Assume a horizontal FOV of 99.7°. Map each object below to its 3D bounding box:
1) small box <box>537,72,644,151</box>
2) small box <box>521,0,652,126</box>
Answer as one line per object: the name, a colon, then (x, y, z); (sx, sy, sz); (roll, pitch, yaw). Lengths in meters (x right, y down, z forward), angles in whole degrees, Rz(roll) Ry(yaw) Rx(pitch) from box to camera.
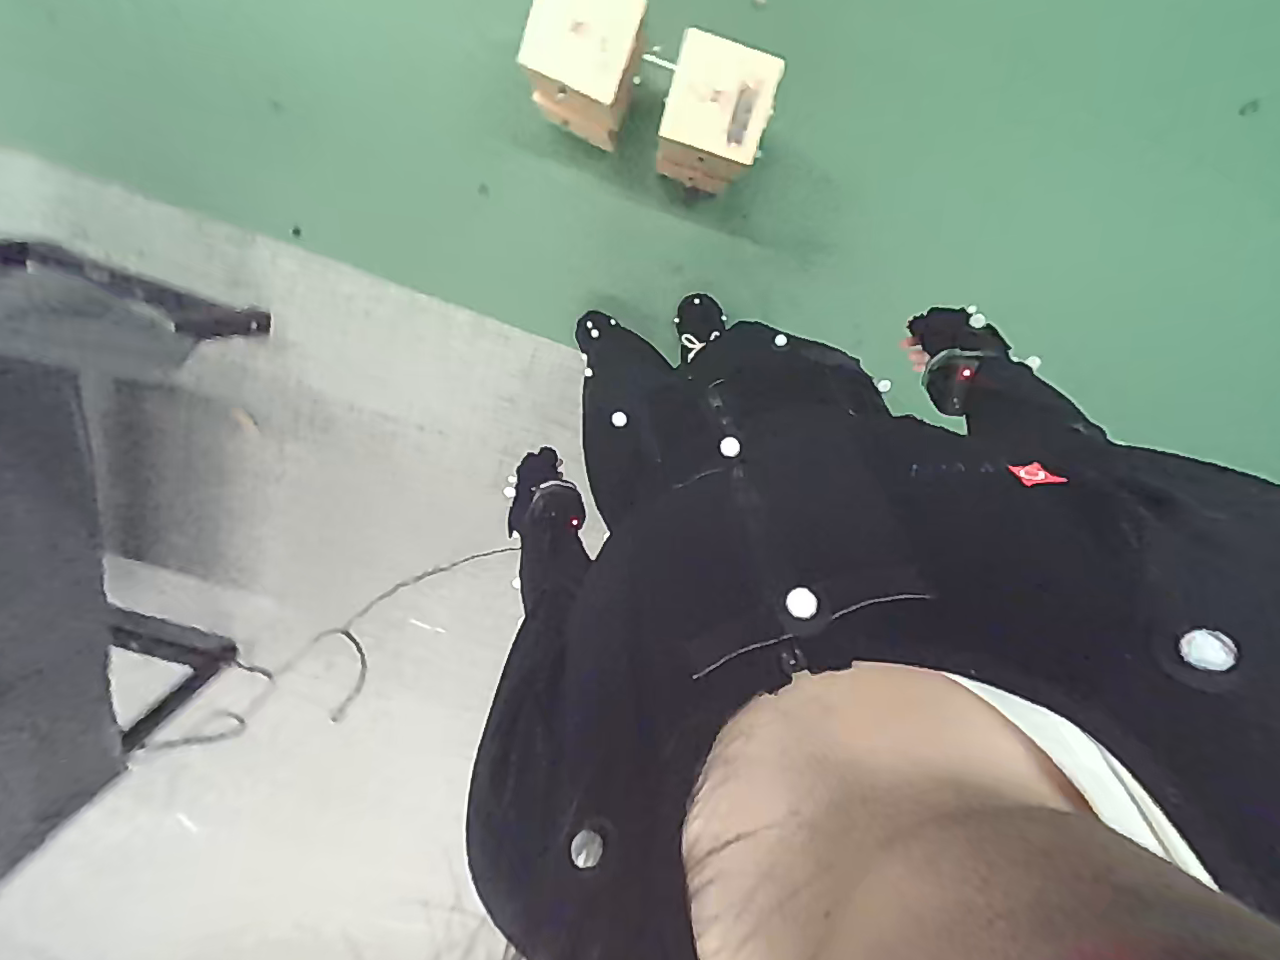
small box: (-0.096, -0.833, 1.142); (0.168, 0.176, 0.179); (24, 108, -6)
small box: (-0.090, -0.783, 0.984); (0.179, 0.176, 0.168); (24, 108, -6)
